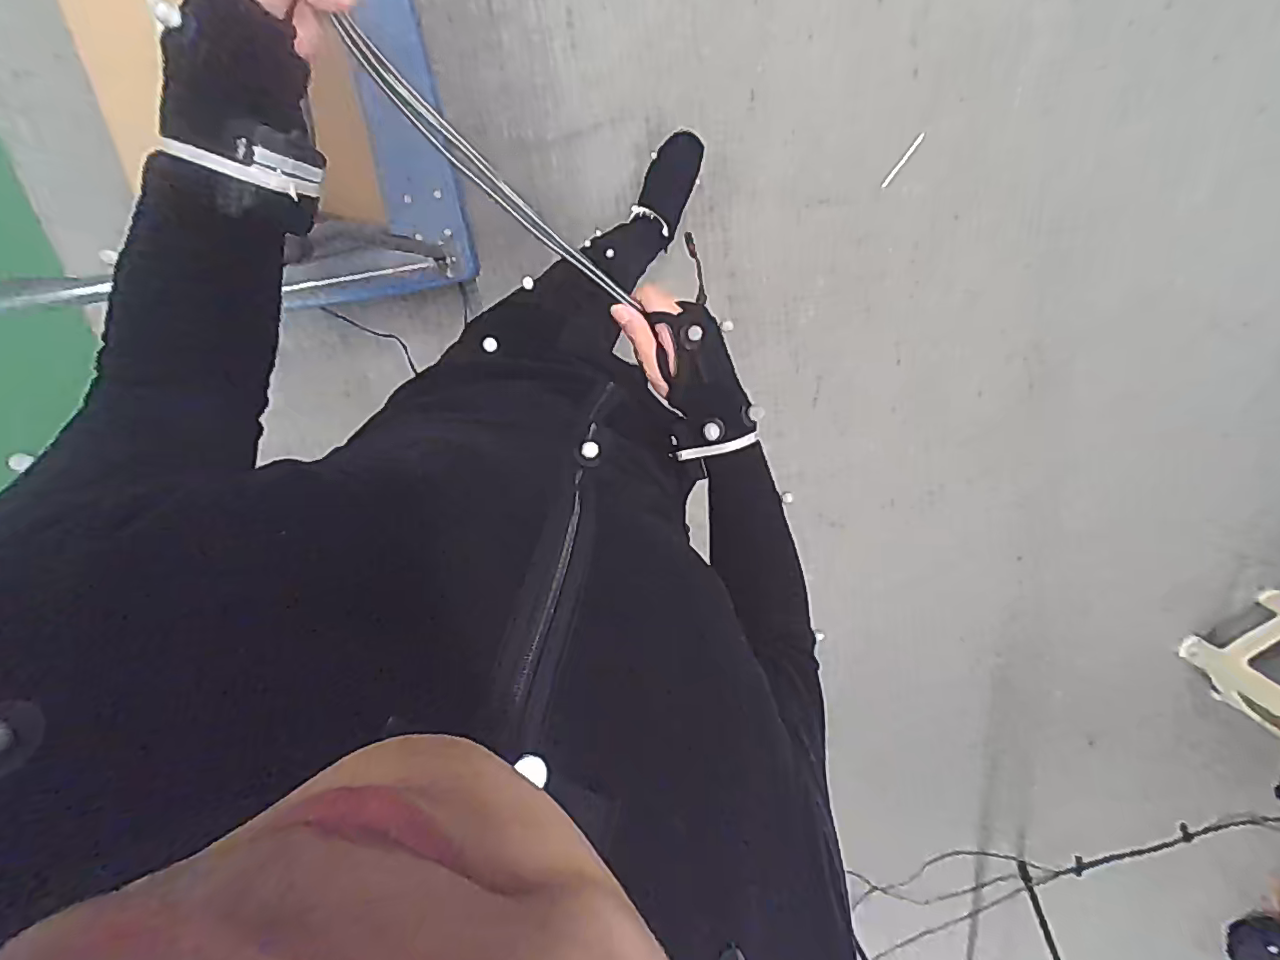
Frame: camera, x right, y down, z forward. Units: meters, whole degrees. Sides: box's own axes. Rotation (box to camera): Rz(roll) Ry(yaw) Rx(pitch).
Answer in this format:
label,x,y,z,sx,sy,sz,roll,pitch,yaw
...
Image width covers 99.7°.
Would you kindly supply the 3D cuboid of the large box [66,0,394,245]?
label,x,y,z,sx,sy,sz,roll,pitch,yaw
large box,-0.727,-0.688,1.025,0.320,0.320,0.408,-6,110,2
